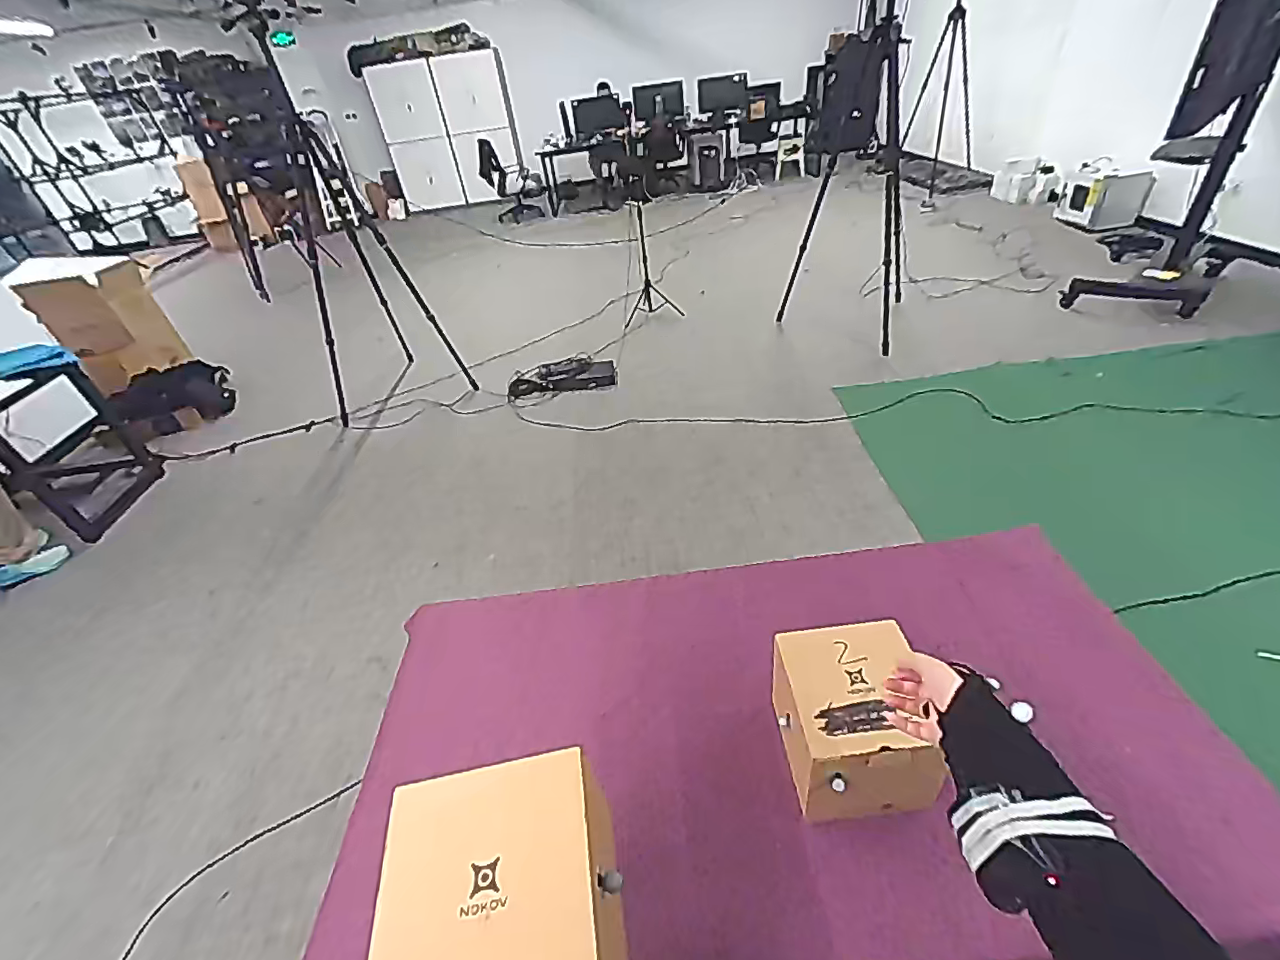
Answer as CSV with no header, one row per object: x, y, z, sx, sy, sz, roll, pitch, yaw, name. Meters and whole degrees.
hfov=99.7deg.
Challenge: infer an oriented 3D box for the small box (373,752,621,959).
-0.112,0.377,0.477,0.168,0.176,0.179,-11,42,-3,small box
